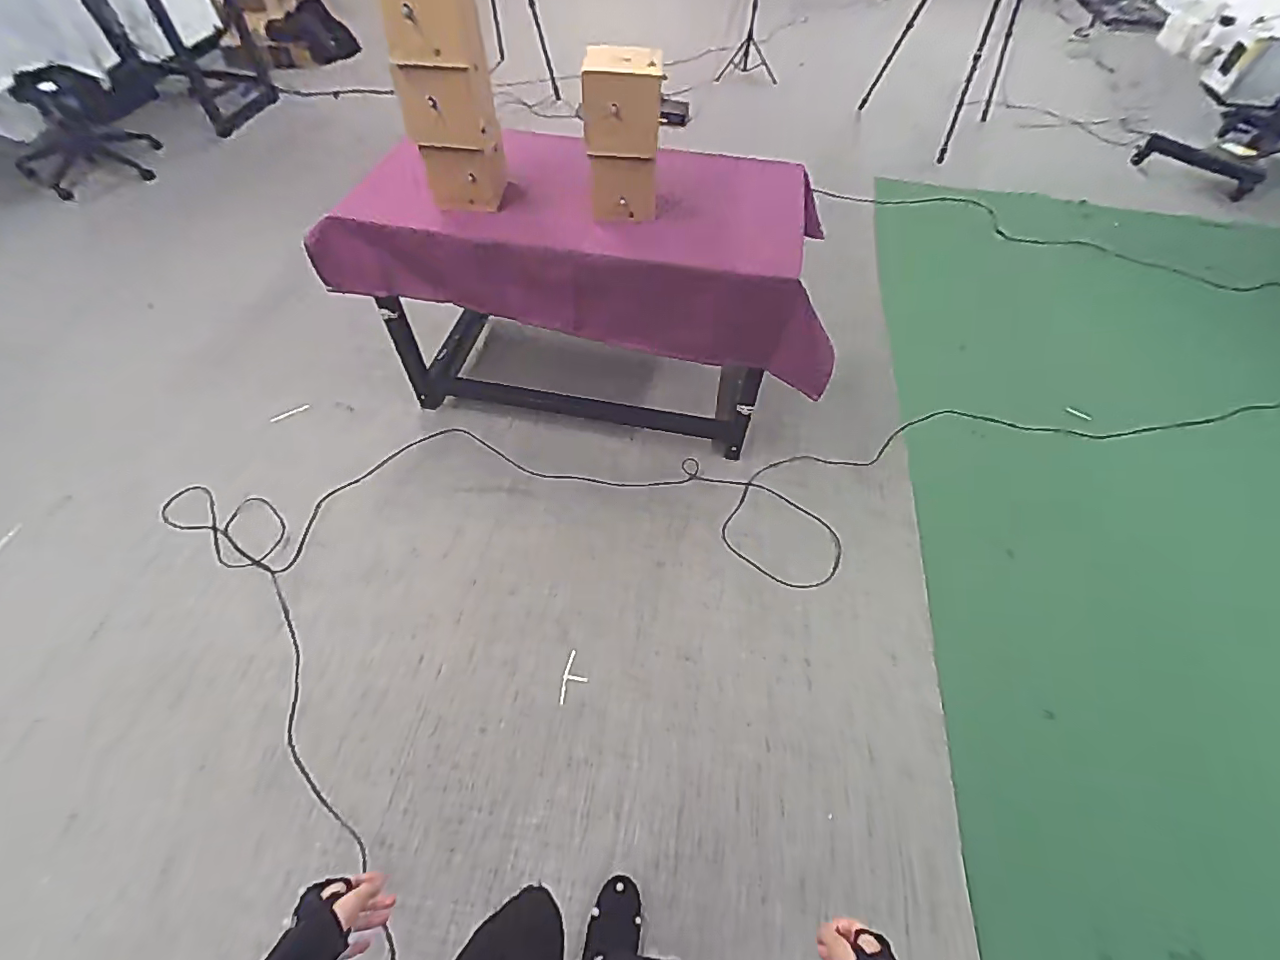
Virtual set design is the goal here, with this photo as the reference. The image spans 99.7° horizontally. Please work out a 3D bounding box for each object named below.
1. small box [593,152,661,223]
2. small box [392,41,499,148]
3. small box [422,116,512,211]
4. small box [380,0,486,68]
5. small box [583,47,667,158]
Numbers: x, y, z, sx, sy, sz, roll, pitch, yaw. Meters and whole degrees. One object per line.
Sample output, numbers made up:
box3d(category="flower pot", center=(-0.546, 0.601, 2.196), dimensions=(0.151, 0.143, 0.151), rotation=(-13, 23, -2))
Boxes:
box3d(category="small box", center=(-0.036, -0.791, 1.397), dimensions=(0.168, 0.176, 0.179), rotation=(0, 54, -2))
box3d(category="small box", center=(-0.440, -0.900, 1.261), dimensions=(0.179, 0.176, 0.168), rotation=(4, 54, 1))
box3d(category="small box", center=(-0.440, -0.825, 1.409), dimensions=(0.168, 0.176, 0.179), rotation=(5, 54, 0))
box3d(category="small box", center=(-0.427, -0.985, 1.122), dimensions=(0.168, 0.176, 0.179), rotation=(2, 54, -2))
box3d(category="small box", center=(-0.030, -0.871, 1.252), dimensions=(0.179, 0.176, 0.168), rotation=(3, 55, 1))
